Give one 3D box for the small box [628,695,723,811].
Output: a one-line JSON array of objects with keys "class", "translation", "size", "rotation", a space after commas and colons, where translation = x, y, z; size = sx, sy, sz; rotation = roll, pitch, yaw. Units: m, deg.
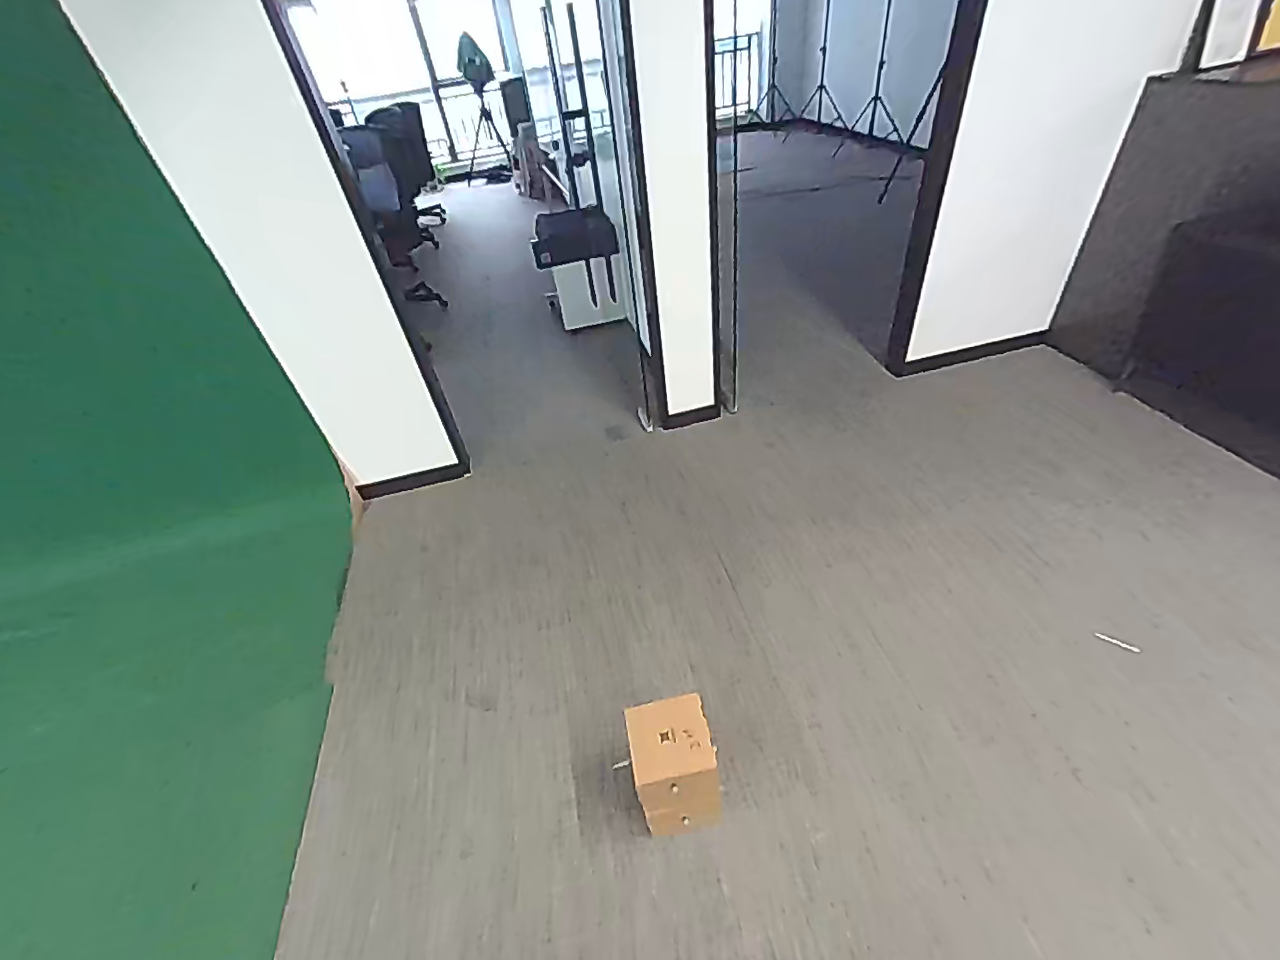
[{"class": "small box", "translation": [0.082, 0.618, 1.217], "size": [0.179, 0.176, 0.168], "rotation": [-12, 41, -2]}]
